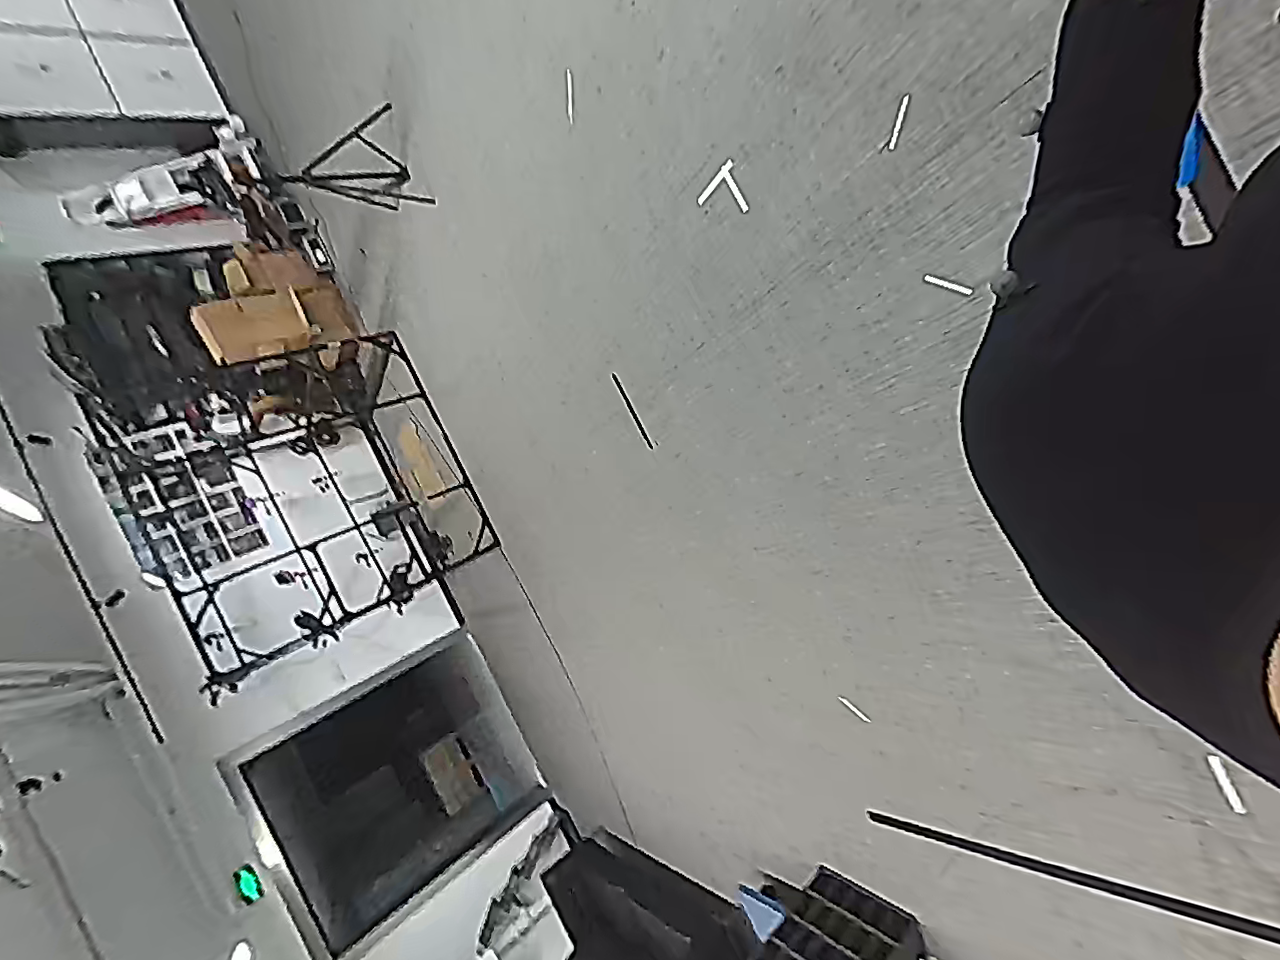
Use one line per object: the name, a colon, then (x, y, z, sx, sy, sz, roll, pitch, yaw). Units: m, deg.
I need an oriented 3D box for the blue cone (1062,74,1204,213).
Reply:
blue cone: (0.807, -0.570, 0.932, 0.193, 0.380, 0.192, 8, 118, 52)
